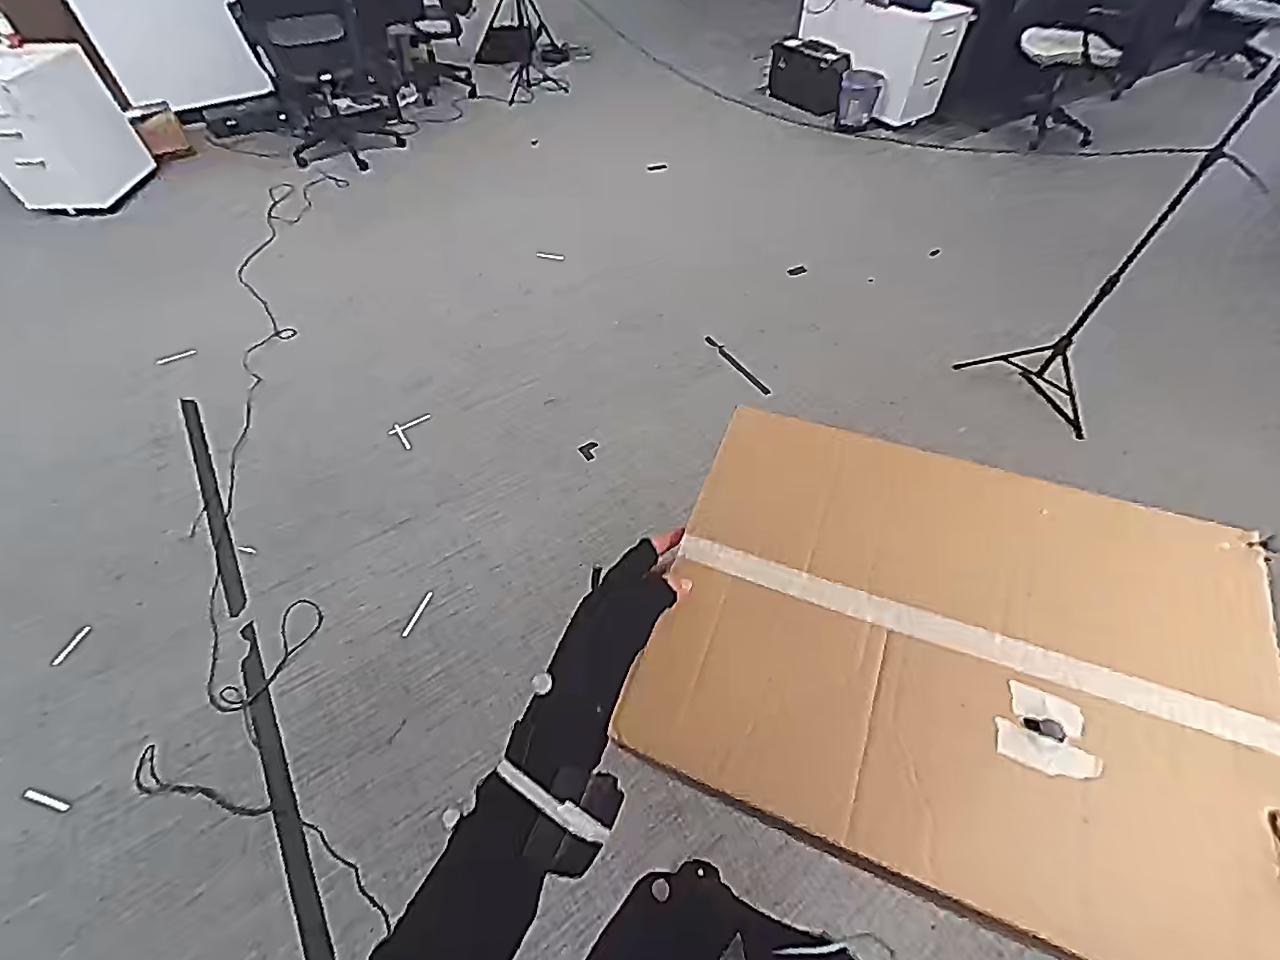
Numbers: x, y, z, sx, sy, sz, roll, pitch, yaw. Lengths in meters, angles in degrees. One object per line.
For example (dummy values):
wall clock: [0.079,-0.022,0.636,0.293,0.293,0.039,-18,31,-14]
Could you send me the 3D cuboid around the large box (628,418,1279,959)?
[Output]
large box: [0.241,0.190,0.534,0.408,0.320,0.320,17,64,17]
